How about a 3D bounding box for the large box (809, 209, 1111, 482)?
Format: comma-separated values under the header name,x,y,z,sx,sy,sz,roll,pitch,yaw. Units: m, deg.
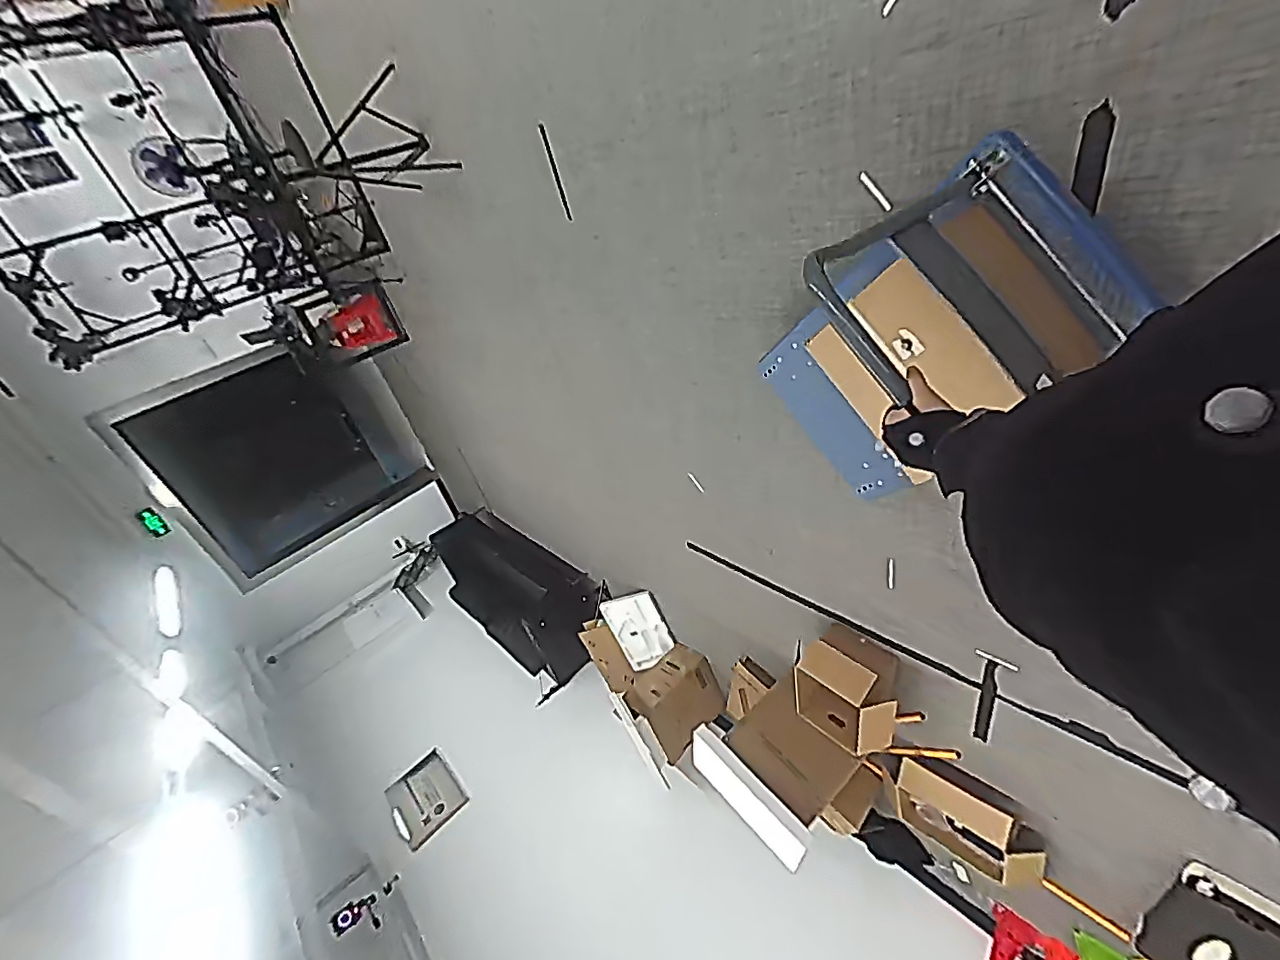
name,x,y,z,sx,sy,sz,roll,pitch,yaw
large box,0.659,-0.274,1.145,0.408,0.320,0.320,53,152,4
